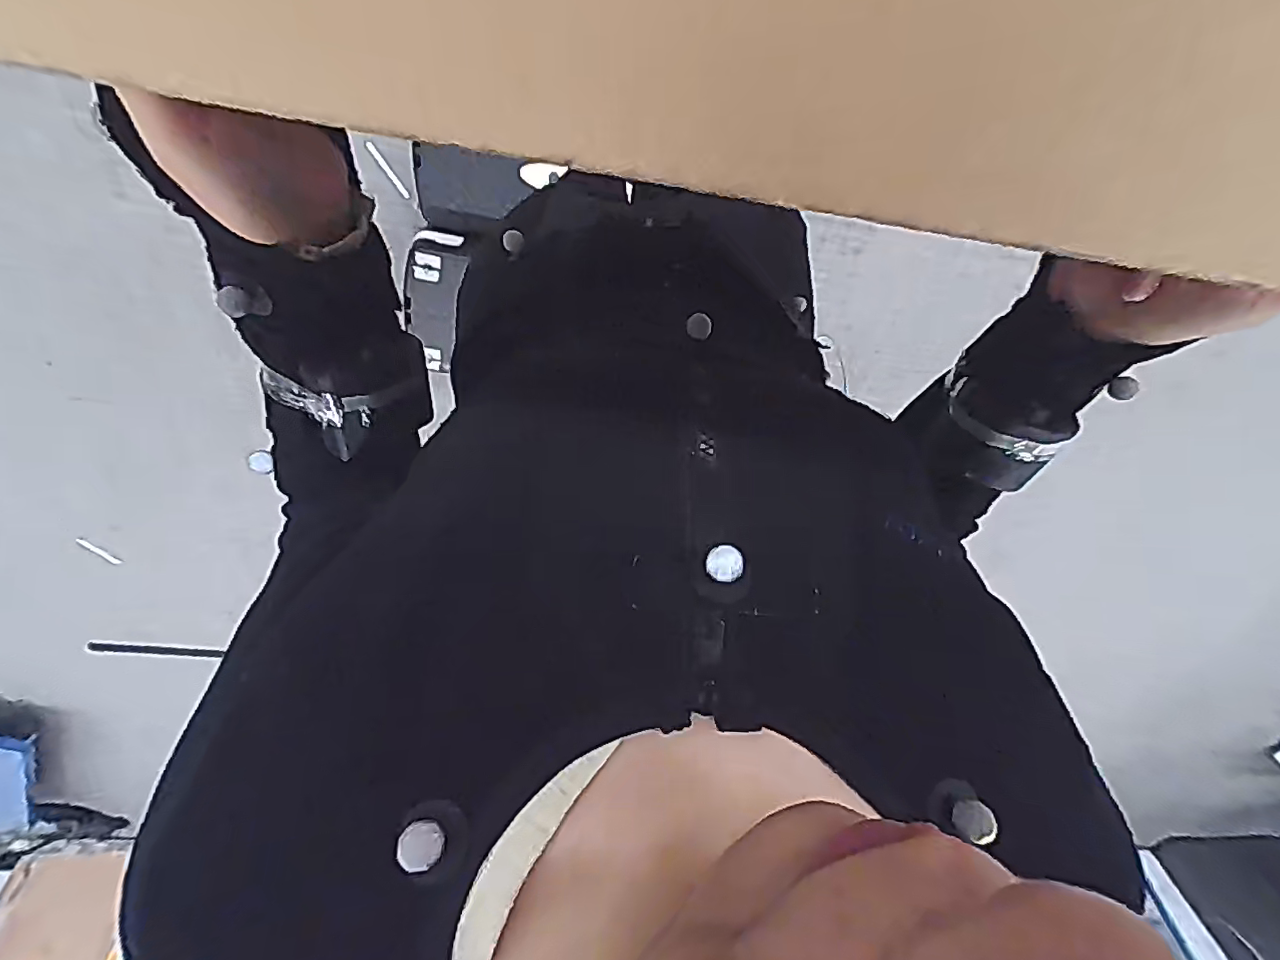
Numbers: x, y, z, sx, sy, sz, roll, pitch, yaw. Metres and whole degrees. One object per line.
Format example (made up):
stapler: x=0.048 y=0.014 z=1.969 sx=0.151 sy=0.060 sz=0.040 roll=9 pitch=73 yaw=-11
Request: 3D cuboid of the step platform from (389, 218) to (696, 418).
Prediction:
step platform: x=-0.216 y=-0.367 z=1.272 sx=0.684 sy=0.204 sz=0.286 roll=12 pitch=125 yaw=-12
